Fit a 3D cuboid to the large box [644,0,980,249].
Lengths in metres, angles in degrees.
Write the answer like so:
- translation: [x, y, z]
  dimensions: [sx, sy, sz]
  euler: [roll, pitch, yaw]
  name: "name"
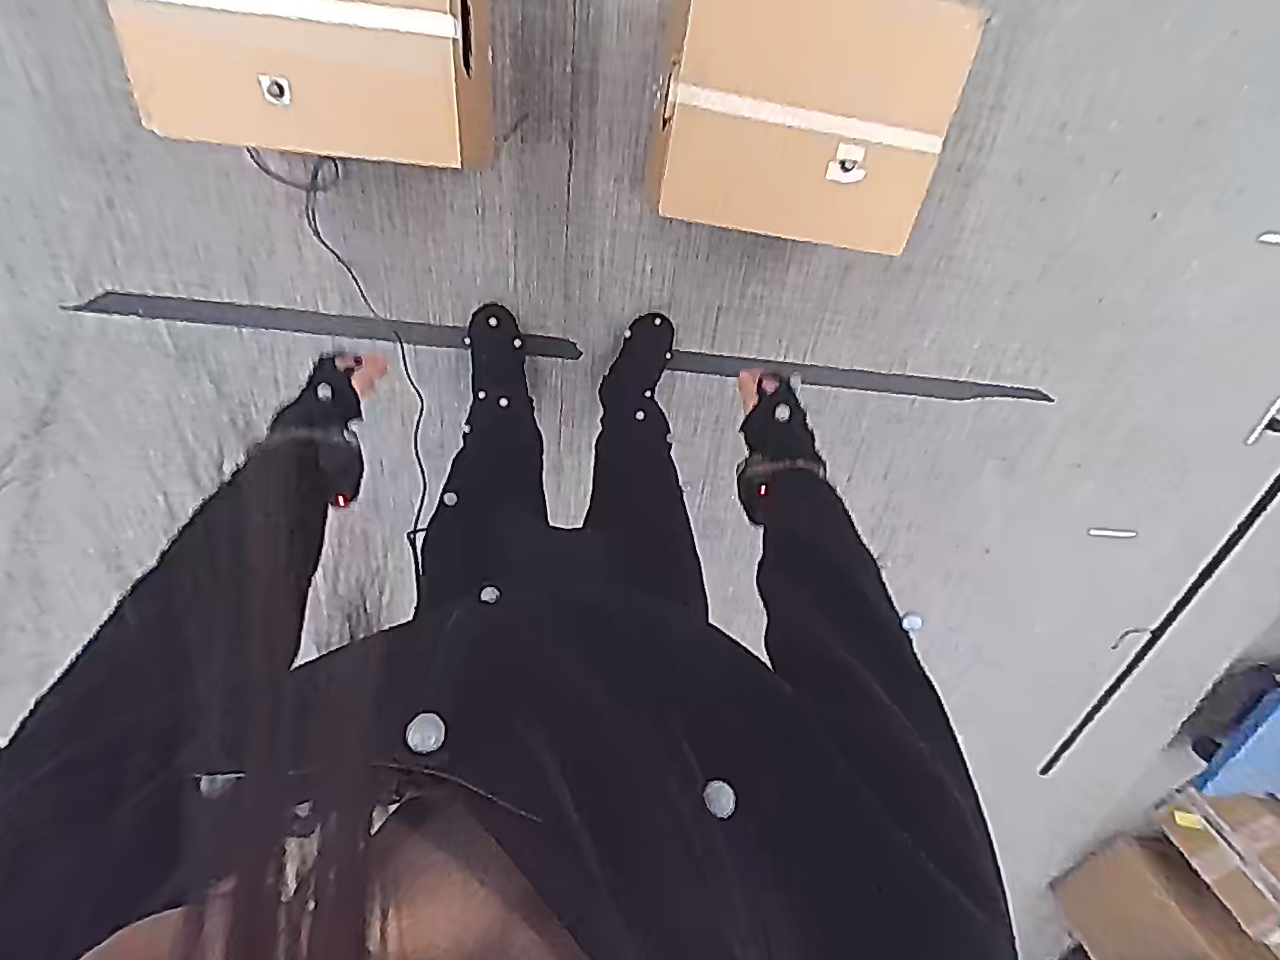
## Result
- translation: [0.236, -0.598, 0.910]
  dimensions: [0.408, 0.320, 0.320]
  euler: [6, 120, -9]
  name: "large box"
